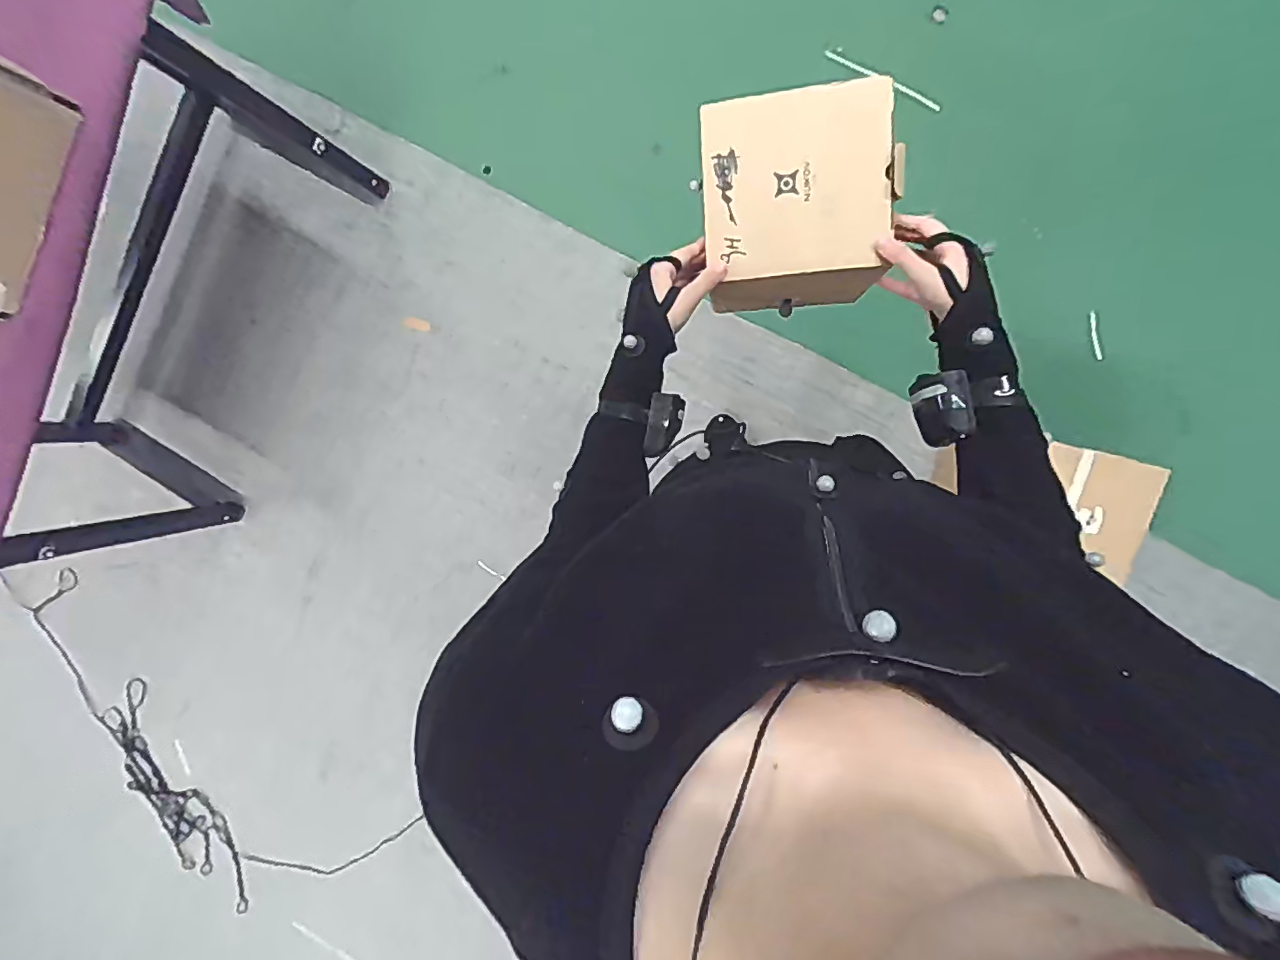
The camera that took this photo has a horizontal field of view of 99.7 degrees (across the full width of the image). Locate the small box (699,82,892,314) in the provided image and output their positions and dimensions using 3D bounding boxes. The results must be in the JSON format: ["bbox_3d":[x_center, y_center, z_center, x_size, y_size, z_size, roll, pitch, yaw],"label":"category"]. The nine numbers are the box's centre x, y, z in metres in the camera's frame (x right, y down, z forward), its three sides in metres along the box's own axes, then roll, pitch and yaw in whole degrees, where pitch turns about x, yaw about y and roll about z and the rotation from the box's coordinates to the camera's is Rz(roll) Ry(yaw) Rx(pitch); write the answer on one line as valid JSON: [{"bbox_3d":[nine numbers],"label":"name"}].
[{"bbox_3d":[0.155,-0.283,0.584,0.179,0.176,0.168,-2,95,9],"label":"small box"}]

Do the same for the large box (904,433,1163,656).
[{"bbox_3d":[0.864,0.124,1.252,0.320,0.320,0.408,16,96,7],"label":"large box"}]
